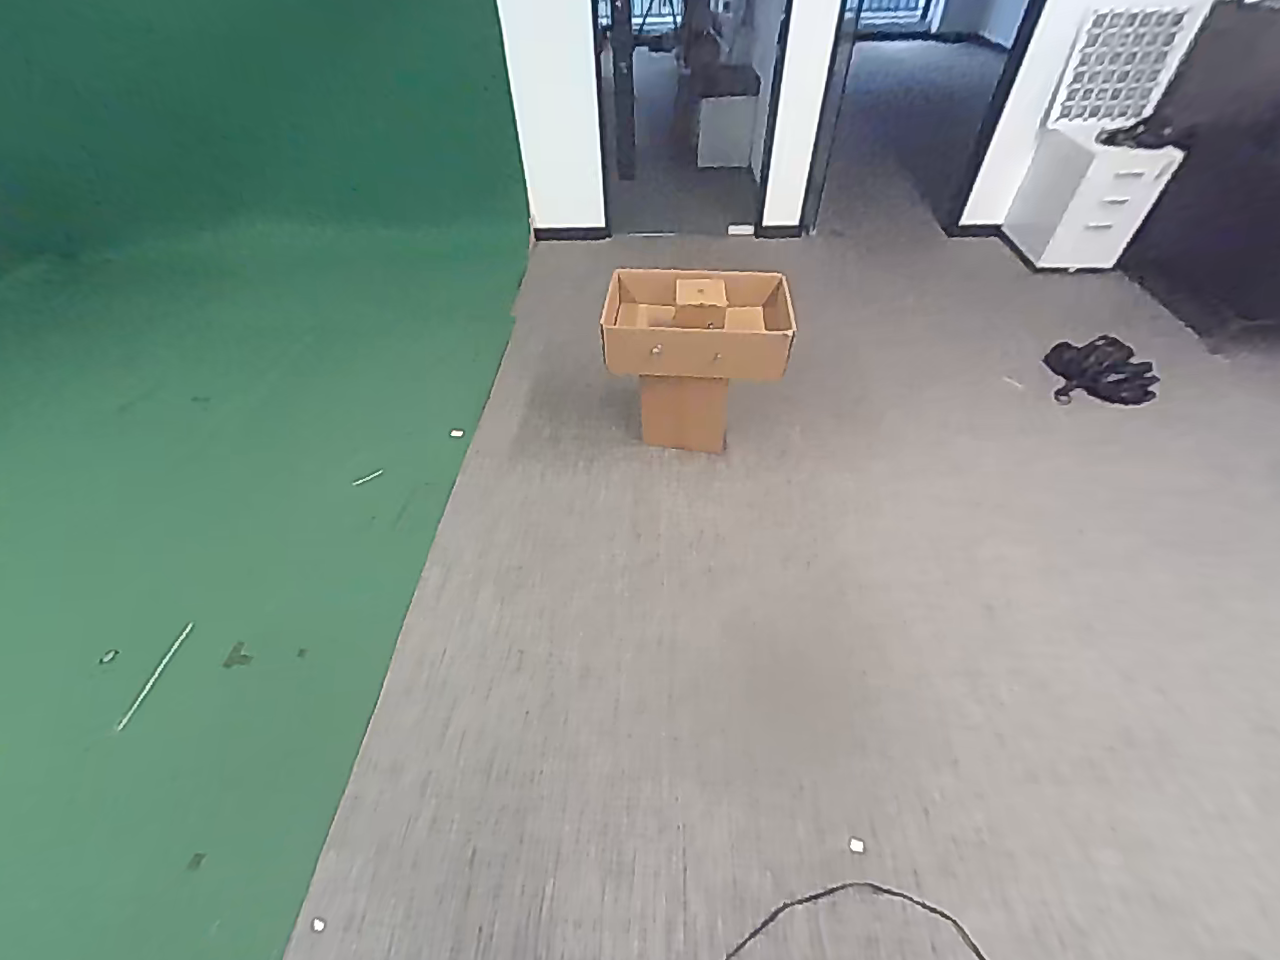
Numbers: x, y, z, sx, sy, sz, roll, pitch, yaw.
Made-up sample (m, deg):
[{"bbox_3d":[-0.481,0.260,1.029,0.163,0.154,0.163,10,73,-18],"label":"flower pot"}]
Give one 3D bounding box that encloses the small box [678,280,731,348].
[{"bbox_3d":[0.219,-0.569,1.861,0.168,0.176,0.179,2,45,2],"label":"small box"}]
